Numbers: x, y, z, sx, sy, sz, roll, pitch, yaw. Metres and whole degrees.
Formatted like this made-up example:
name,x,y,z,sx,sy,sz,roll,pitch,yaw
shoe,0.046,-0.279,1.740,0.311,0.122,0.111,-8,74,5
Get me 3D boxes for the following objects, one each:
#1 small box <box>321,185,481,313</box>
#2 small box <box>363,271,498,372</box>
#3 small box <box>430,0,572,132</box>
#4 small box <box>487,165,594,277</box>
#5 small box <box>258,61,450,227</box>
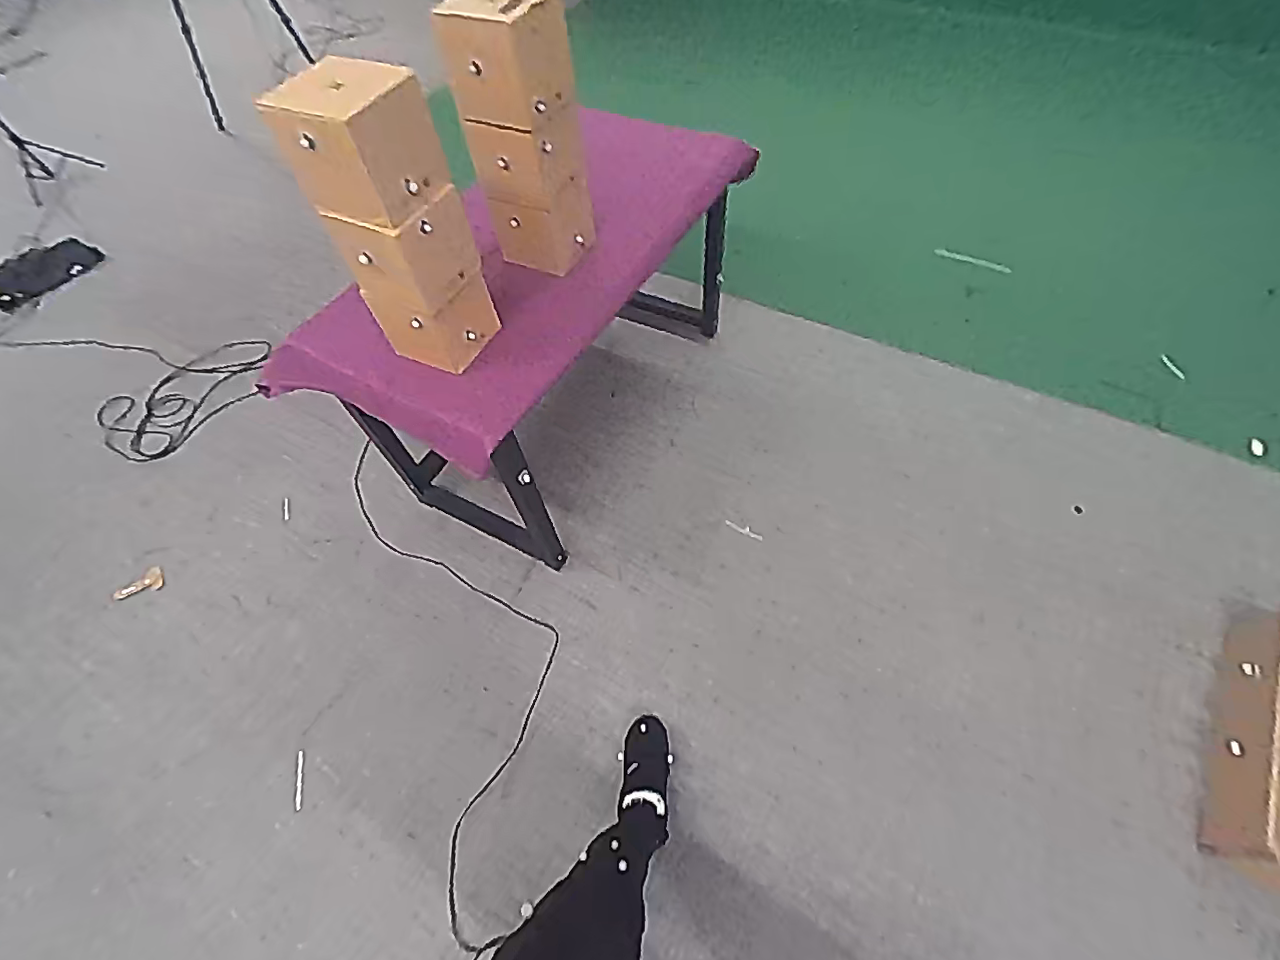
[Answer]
name,x,y,z,sx,sy,sz,roll,pitch,yaw
small box,-0.430,-0.437,1.002,0.179,0.176,0.168,22,61,17
small box,-0.432,-0.354,1.143,0.179,0.176,0.168,20,61,16
small box,-0.247,-0.785,1.014,0.179,0.176,0.168,21,61,18
small box,-0.230,-0.617,1.295,0.179,0.176,0.168,23,62,17
small box,-0.445,-0.536,0.871,0.179,0.176,0.168,20,61,15
